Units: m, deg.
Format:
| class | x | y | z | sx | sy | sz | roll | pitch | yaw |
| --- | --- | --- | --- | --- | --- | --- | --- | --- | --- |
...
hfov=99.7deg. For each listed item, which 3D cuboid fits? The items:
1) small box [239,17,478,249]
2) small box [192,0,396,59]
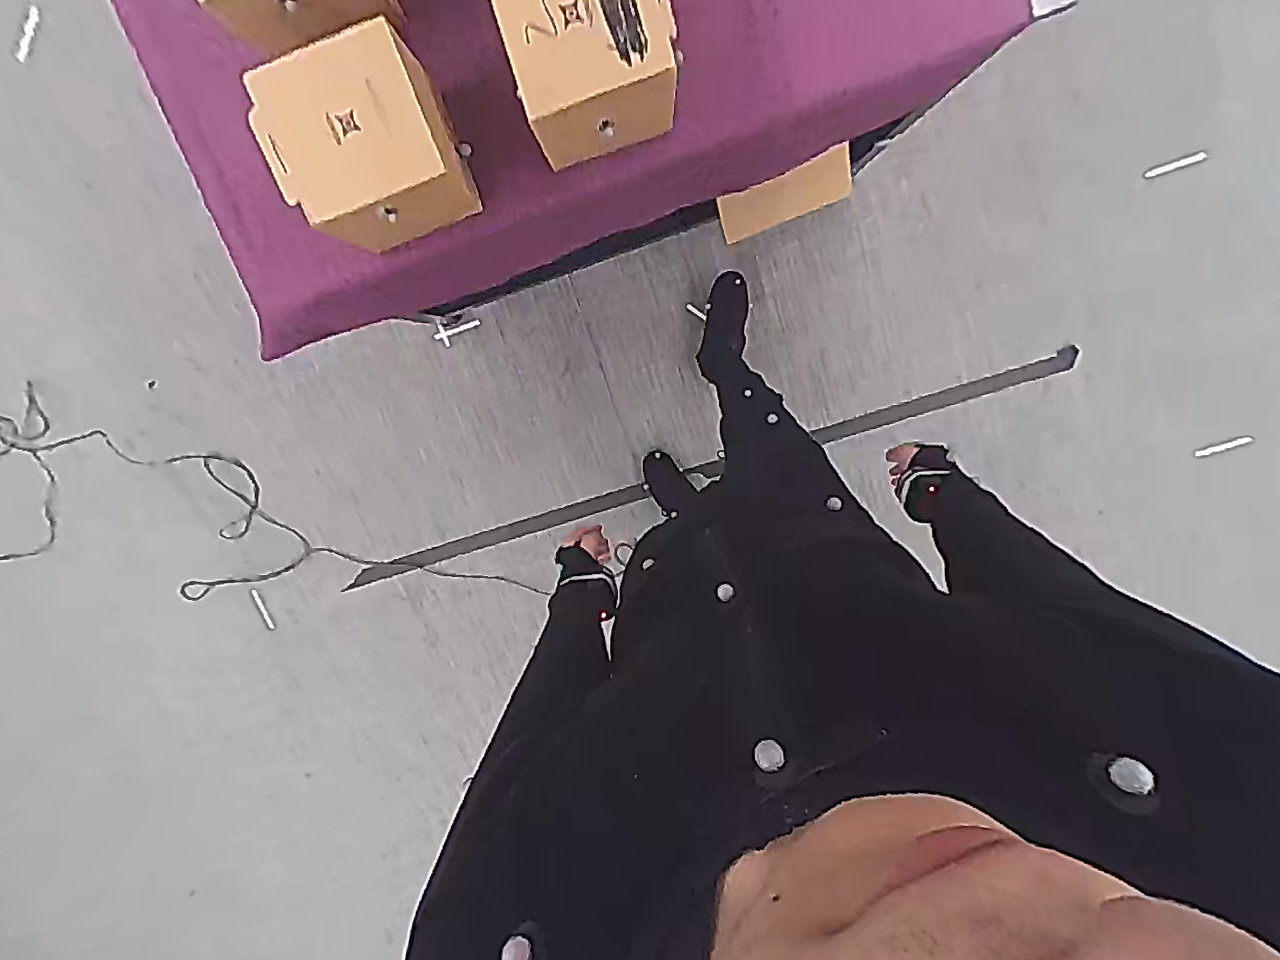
| class | x | y | z | sx | sy | sz | roll | pitch | yaw |
| --- | --- | --- | --- | --- | --- | --- | --- | --- | --- |
| small box | -0.331 | -0.411 | 0.677 | 0.179 | 0.176 | 0.168 | -20 | 103 | 4 |
| small box | -0.425 | -0.627 | 0.626 | 0.179 | 0.176 | 0.168 | -21 | 103 | 4 |
